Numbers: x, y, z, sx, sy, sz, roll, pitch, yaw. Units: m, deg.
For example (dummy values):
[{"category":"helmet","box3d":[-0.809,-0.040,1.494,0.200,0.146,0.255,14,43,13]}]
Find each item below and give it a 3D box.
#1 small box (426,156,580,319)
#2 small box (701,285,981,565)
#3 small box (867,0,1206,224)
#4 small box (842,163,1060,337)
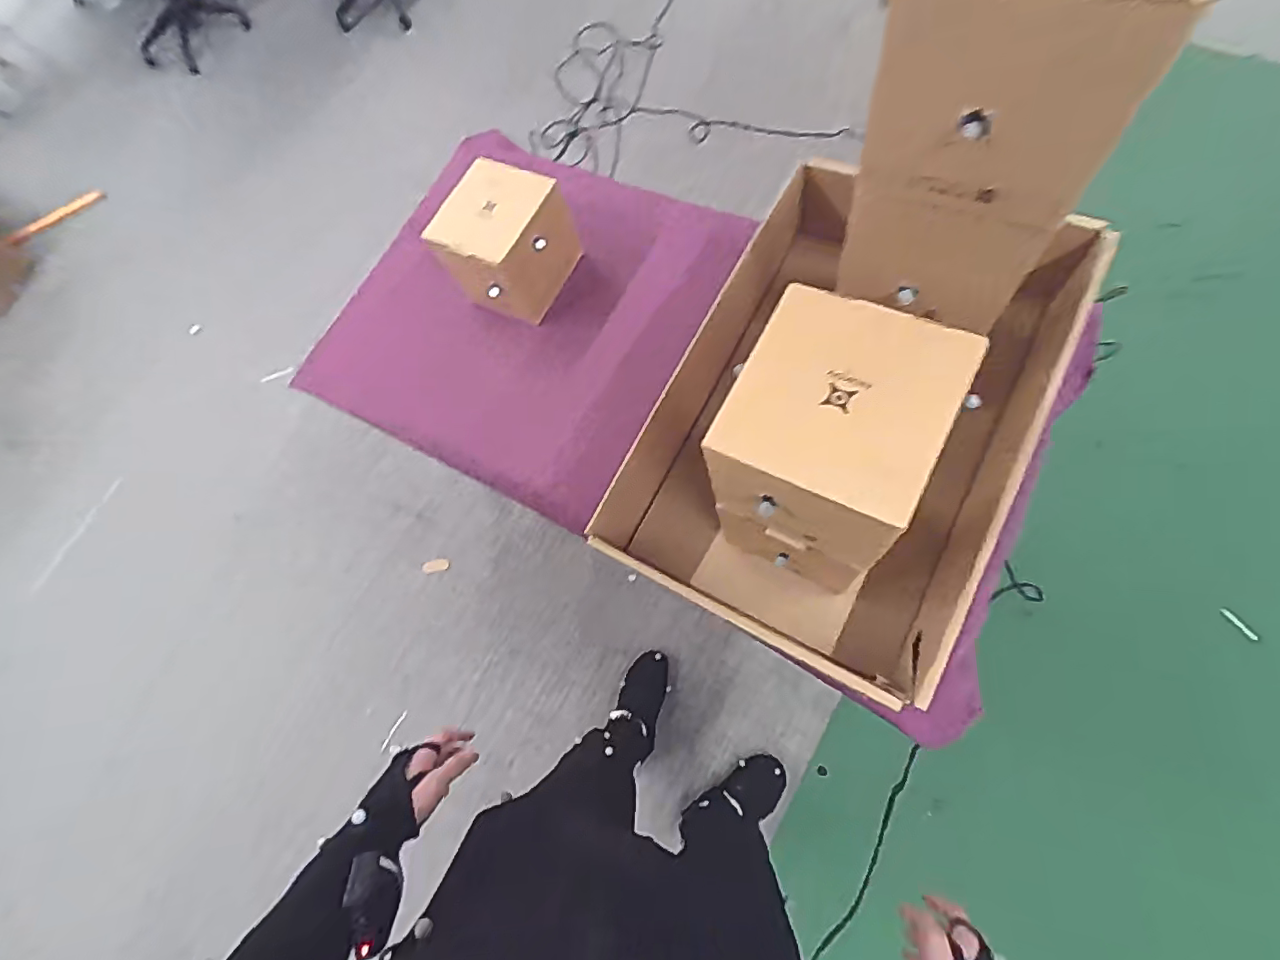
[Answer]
[{"category":"small box","box3d":[-0.226,-0.414,0.946,0.168,0.176,0.179,27,79,18]},{"category":"small box","box3d":[0.176,-0.041,0.506,0.168,0.176,0.179,25,77,20]},{"category":"small box","box3d":[0.285,-0.327,0.398,0.168,0.176,0.179,26,80,19]},{"category":"small box","box3d":[0.321,-0.280,0.553,0.168,0.176,0.179,24,80,20]}]
